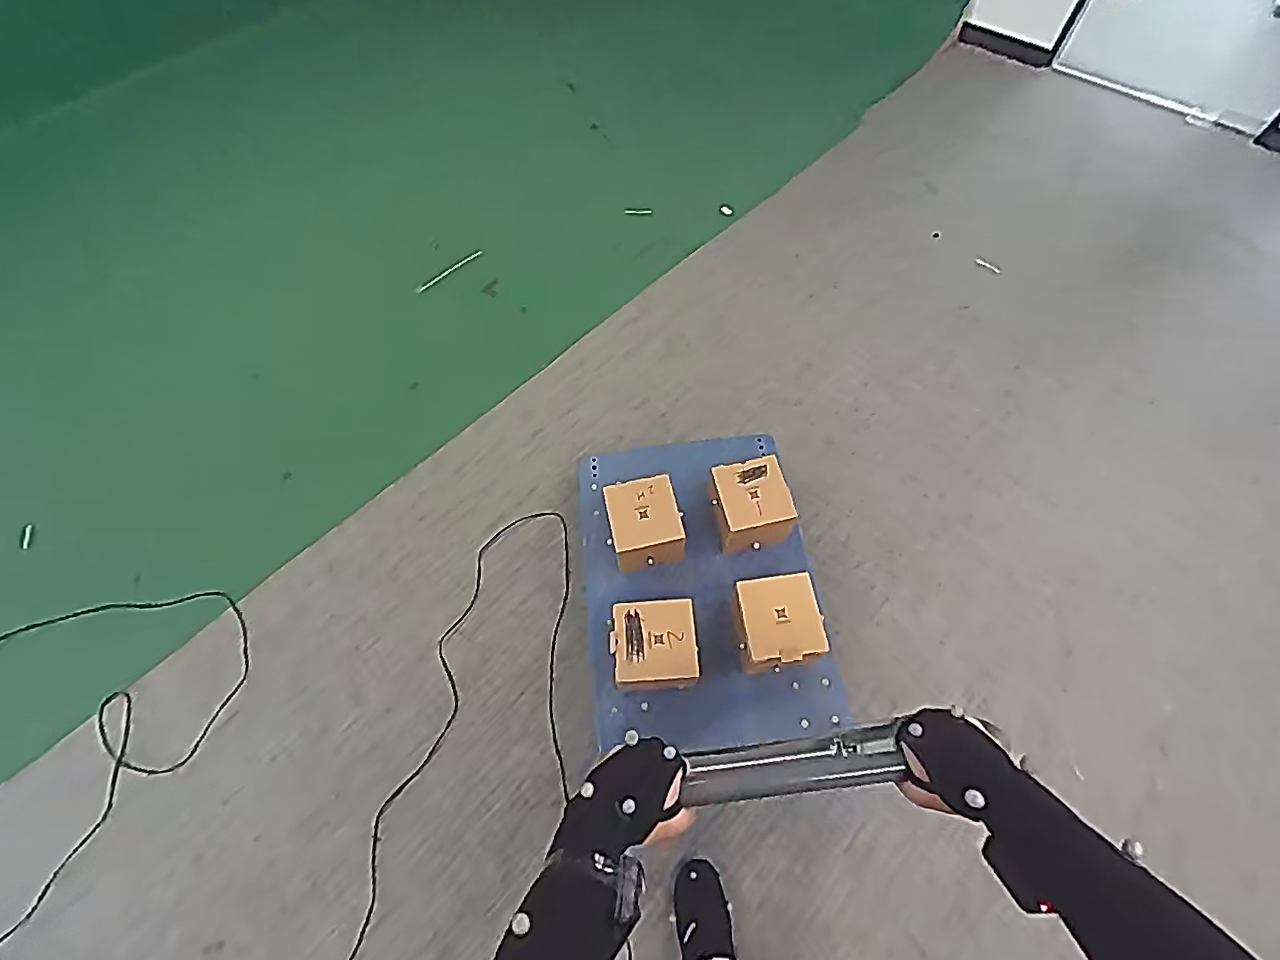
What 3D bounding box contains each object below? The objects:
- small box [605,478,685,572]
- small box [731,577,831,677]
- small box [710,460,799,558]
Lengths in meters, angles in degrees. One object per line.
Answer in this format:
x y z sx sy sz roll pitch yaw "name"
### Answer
0.013 0.120 1.349 0.168 0.176 0.179 -11 63 -5 "small box"
0.308 0.336 1.225 0.168 0.176 0.179 -7 63 -1 "small box"
0.278 0.075 1.363 0.168 0.176 0.179 -11 63 -3 "small box"
